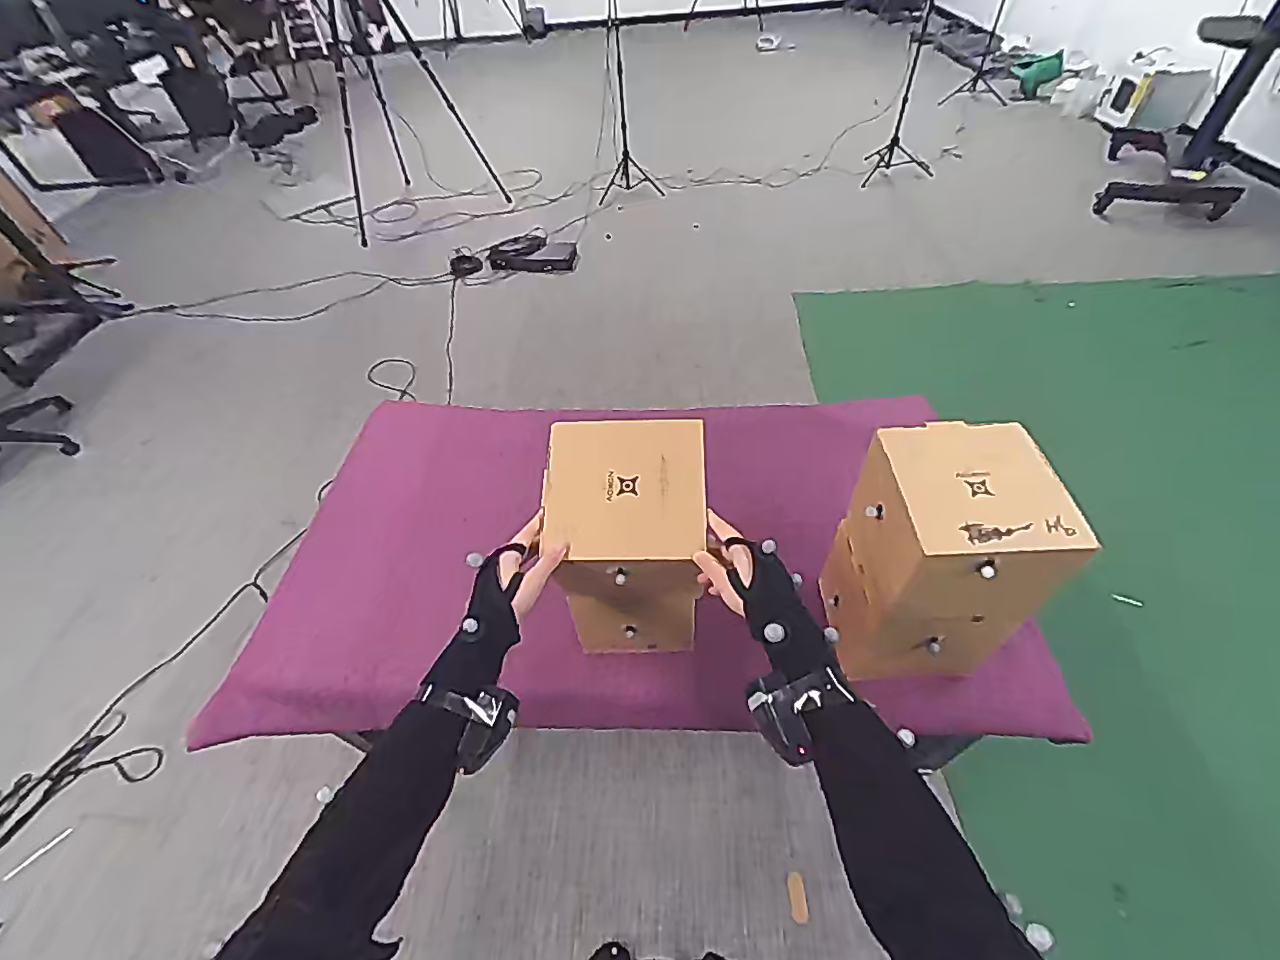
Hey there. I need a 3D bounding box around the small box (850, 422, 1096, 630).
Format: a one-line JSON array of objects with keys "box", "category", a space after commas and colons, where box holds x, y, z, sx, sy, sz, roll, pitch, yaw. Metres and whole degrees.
[{"box": [0.359, 0.055, 0.631, 0.168, 0.176, 0.179, -4, 49, 5], "category": "small box"}]

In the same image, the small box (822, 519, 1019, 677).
[{"box": [0.371, 0.164, 0.754, 0.179, 0.176, 0.168, -4, 49, 4], "category": "small box"}]

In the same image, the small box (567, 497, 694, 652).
[{"box": [-0.005, 0.146, 0.809, 0.168, 0.176, 0.179, -2, 48, 4], "category": "small box"}]
